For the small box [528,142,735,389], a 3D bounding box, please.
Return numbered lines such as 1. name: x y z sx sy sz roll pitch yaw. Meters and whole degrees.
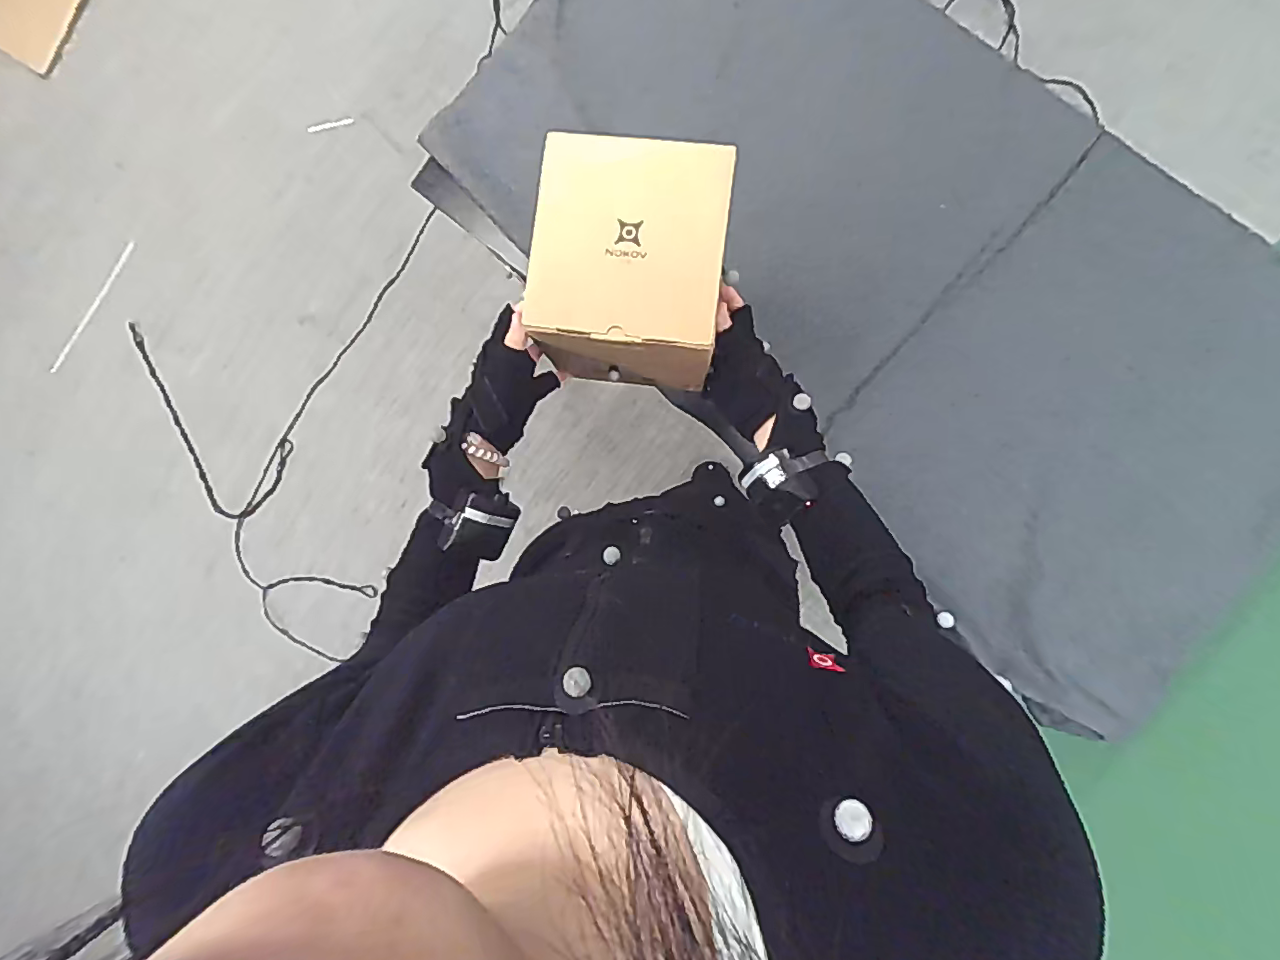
1. small box: -0.004 -0.203 0.556 0.168 0.176 0.179 7 89 3
